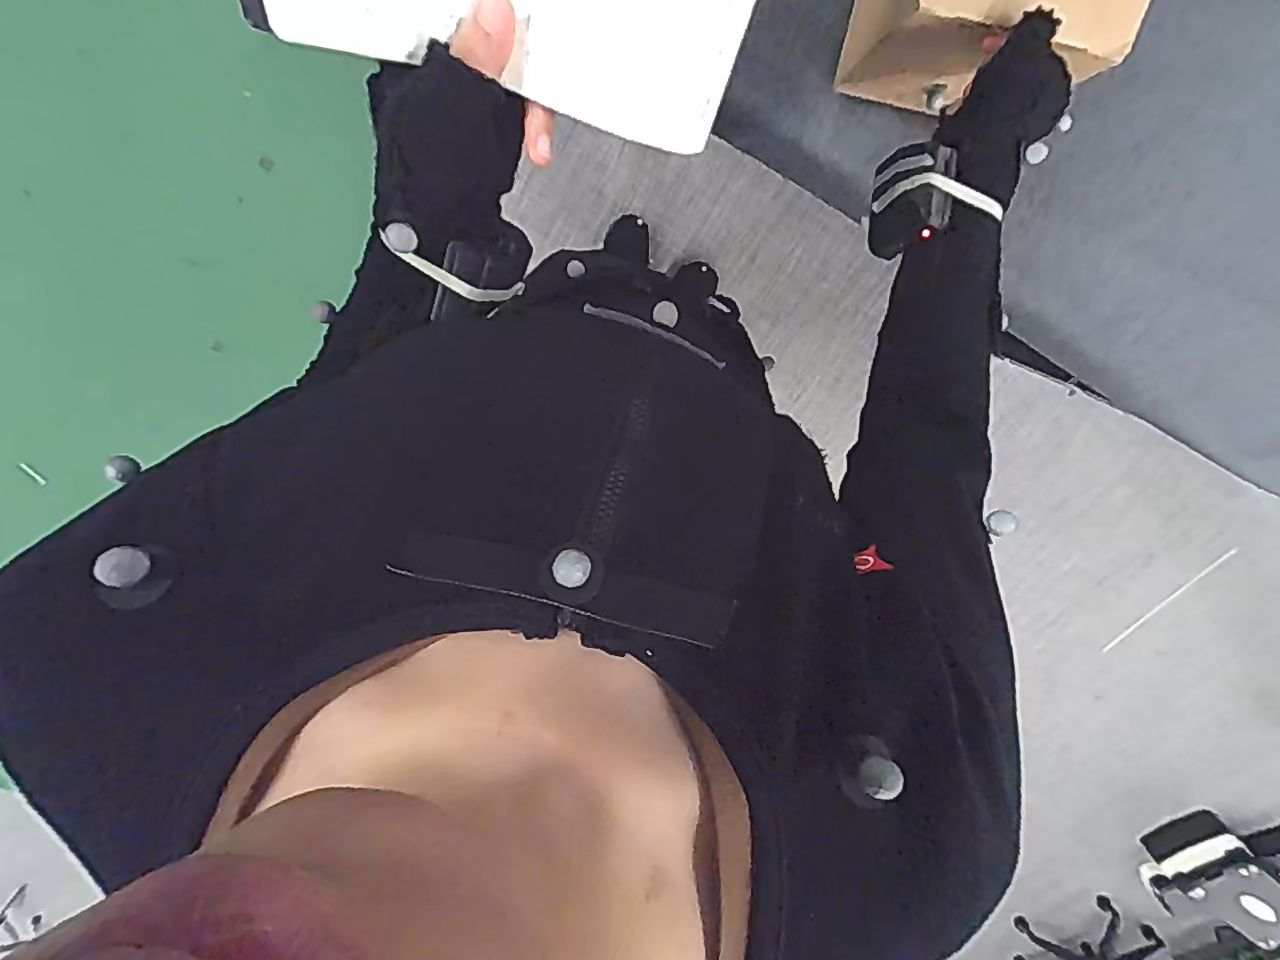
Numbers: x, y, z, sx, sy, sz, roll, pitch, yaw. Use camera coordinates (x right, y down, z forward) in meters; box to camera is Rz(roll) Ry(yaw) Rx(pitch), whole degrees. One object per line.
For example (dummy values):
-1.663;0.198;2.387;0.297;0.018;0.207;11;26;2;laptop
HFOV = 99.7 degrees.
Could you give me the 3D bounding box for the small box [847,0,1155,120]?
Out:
0.292;-0.430;0.437;0.168;0.176;0.179;9;108;-5;small box
